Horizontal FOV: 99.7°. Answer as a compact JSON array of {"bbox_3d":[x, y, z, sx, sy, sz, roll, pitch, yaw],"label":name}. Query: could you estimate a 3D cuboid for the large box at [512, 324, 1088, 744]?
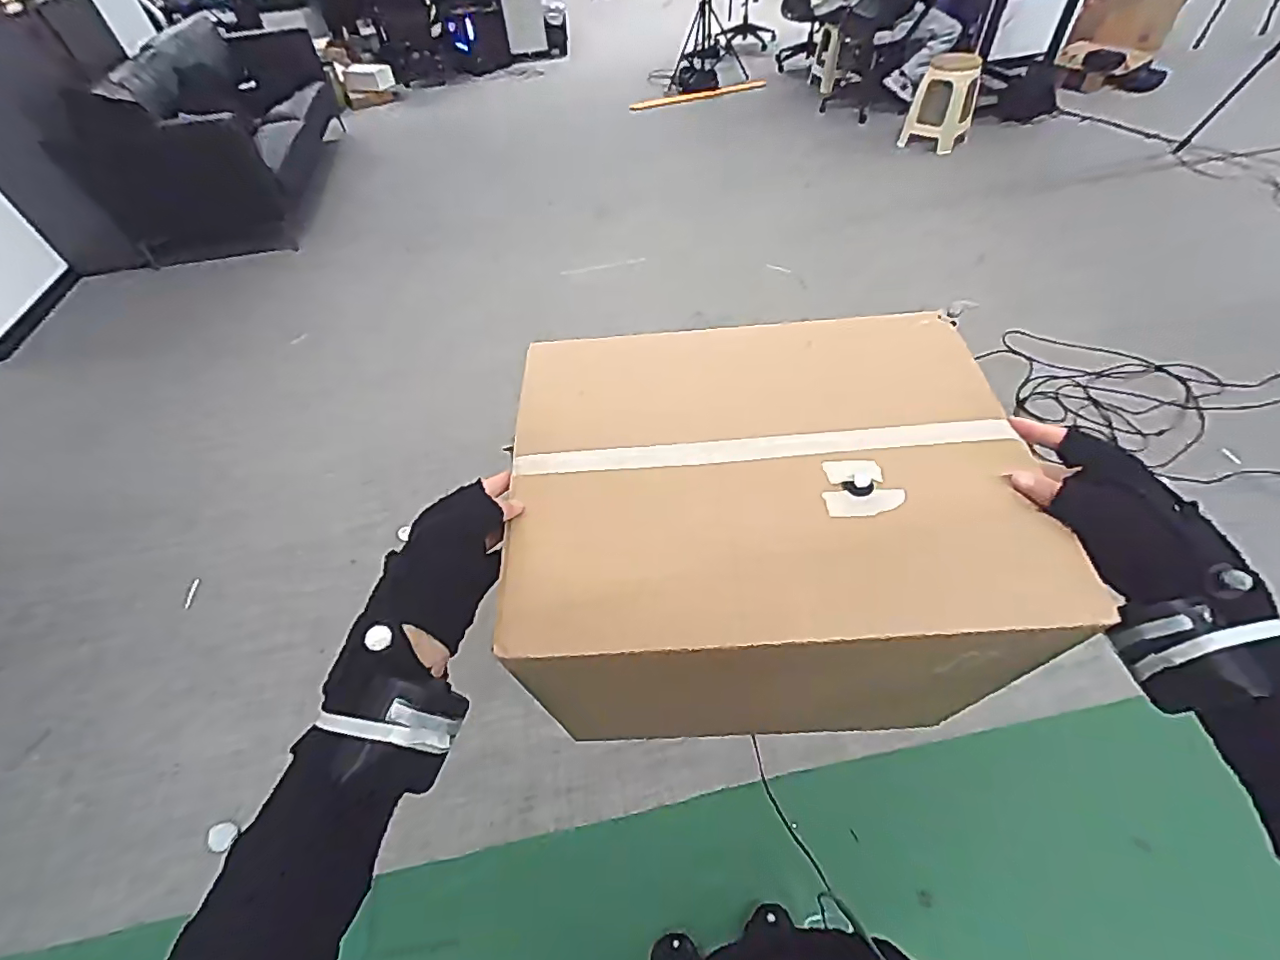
[{"bbox_3d":[0.108,0.073,0.574,0.408,0.320,0.320,-5,55,2],"label":"large box"}]
